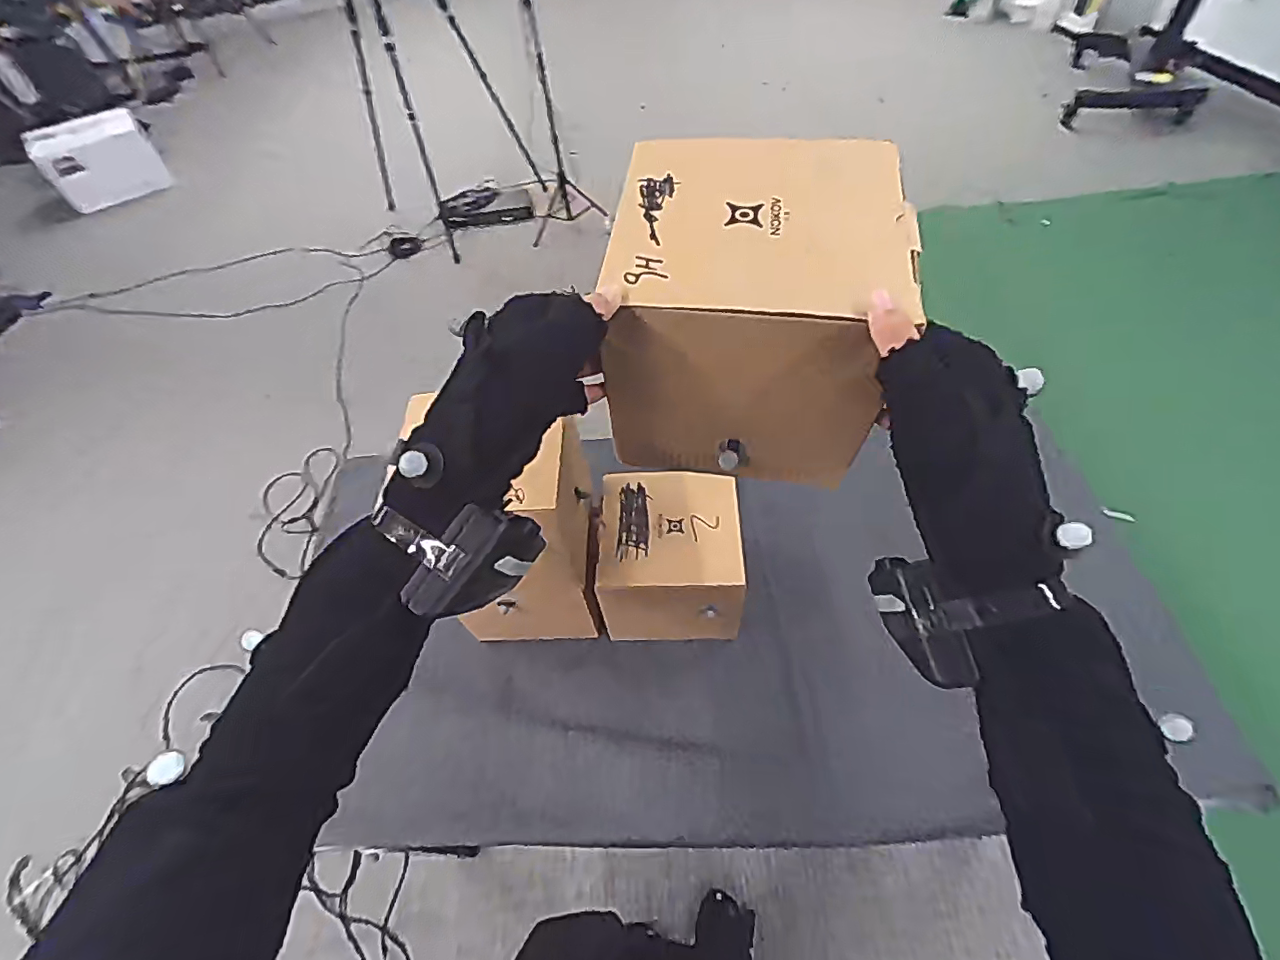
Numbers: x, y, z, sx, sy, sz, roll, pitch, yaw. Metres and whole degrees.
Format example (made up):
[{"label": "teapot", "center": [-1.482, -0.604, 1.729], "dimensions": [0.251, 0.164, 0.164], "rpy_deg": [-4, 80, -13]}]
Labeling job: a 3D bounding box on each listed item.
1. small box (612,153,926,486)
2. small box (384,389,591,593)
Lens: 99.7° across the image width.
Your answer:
[{"label": "small box", "center": [0.084, -0.110, 0.406], "dimensions": [0.179, 0.176, 0.168], "rpy_deg": [7, 59, 6]}, {"label": "small box", "center": [-0.152, 0.017, 0.617], "dimensions": [0.179, 0.176, 0.168], "rpy_deg": [-4, 52, 2]}]
